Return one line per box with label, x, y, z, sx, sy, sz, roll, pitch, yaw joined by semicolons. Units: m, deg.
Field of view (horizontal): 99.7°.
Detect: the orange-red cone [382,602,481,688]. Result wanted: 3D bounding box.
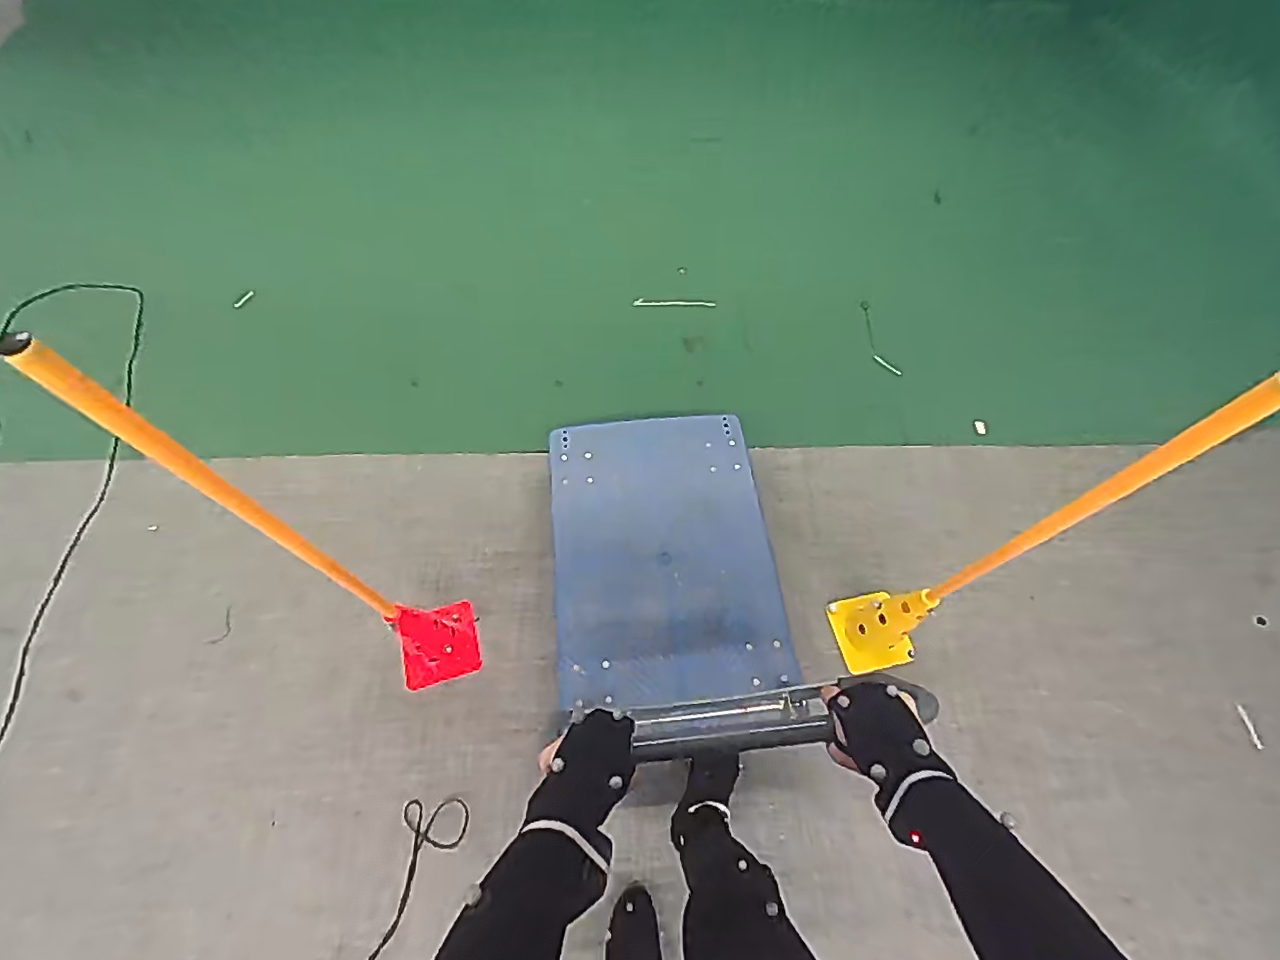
orange-red cone;-0.535;0.364;1.306;0.199;0.360;0.198;-15;64;-8
